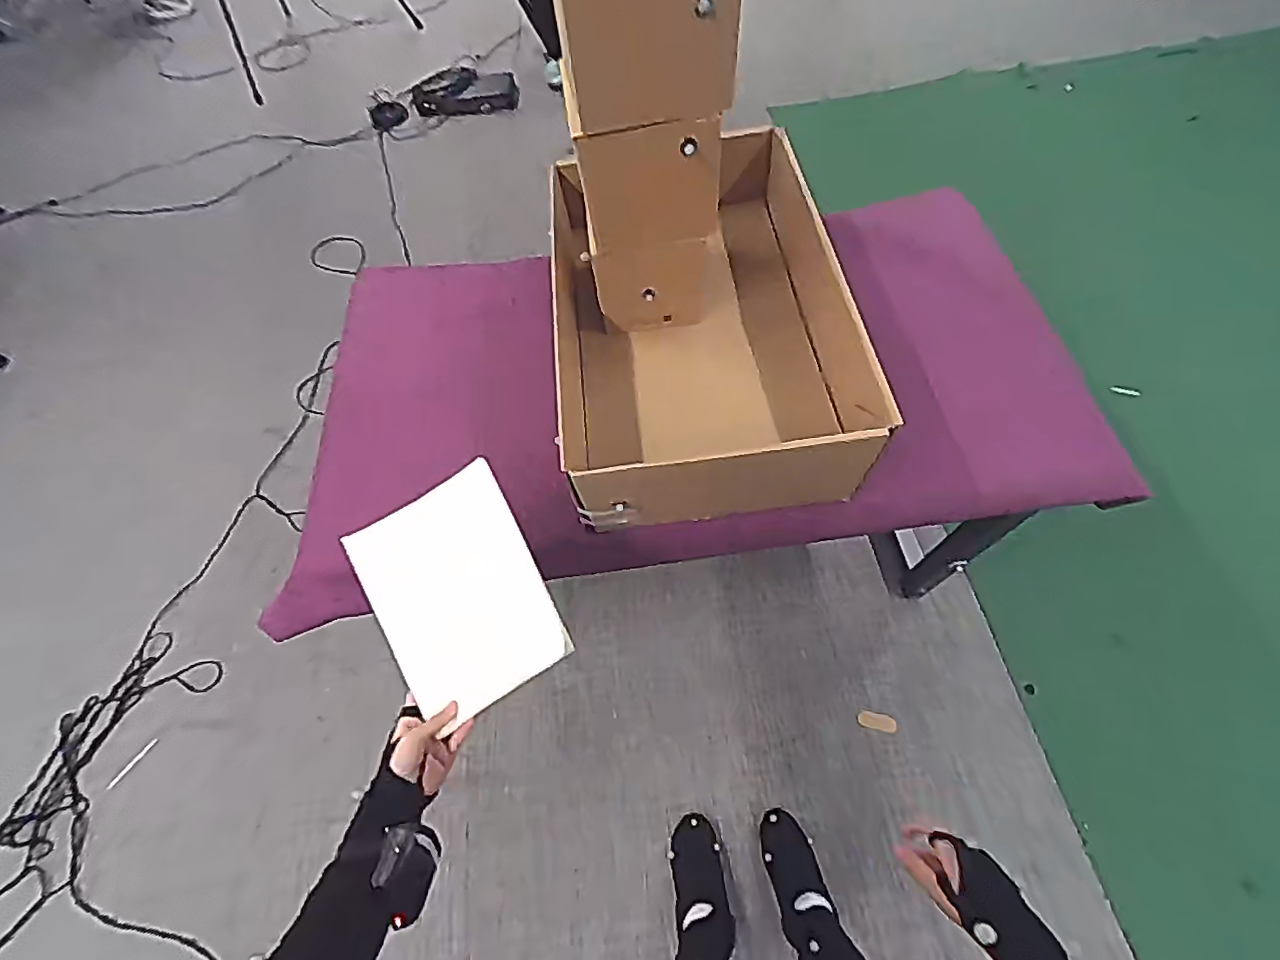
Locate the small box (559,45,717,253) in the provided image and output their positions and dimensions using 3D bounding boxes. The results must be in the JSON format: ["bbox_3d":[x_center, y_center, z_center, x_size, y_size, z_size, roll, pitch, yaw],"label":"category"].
[{"bbox_3d":[0.000,-0.428,0.719,0.179,0.176,0.168,-10,63,0],"label":"small box"}]

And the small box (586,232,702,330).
[{"bbox_3d":[0.007,-0.358,0.864,0.168,0.176,0.179,-7,64,1],"label":"small box"}]
